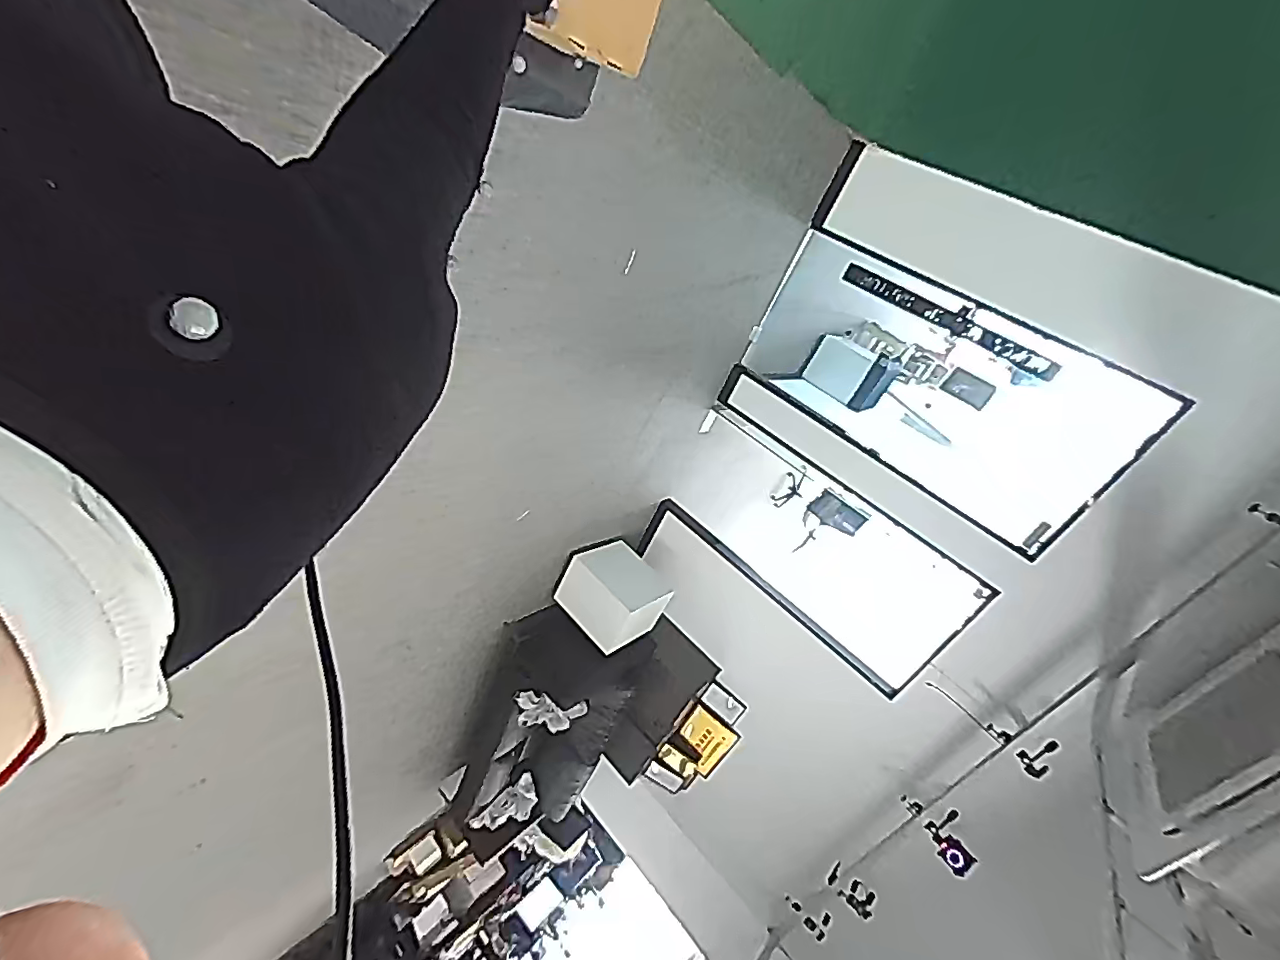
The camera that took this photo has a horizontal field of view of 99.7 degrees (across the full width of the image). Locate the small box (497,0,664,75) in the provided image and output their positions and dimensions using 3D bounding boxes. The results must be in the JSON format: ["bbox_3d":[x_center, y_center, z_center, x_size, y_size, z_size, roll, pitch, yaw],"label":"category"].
[{"bbox_3d":[-0.076,-0.677,0.702,0.168,0.176,0.179,-16,139,-49],"label":"small box"}]
